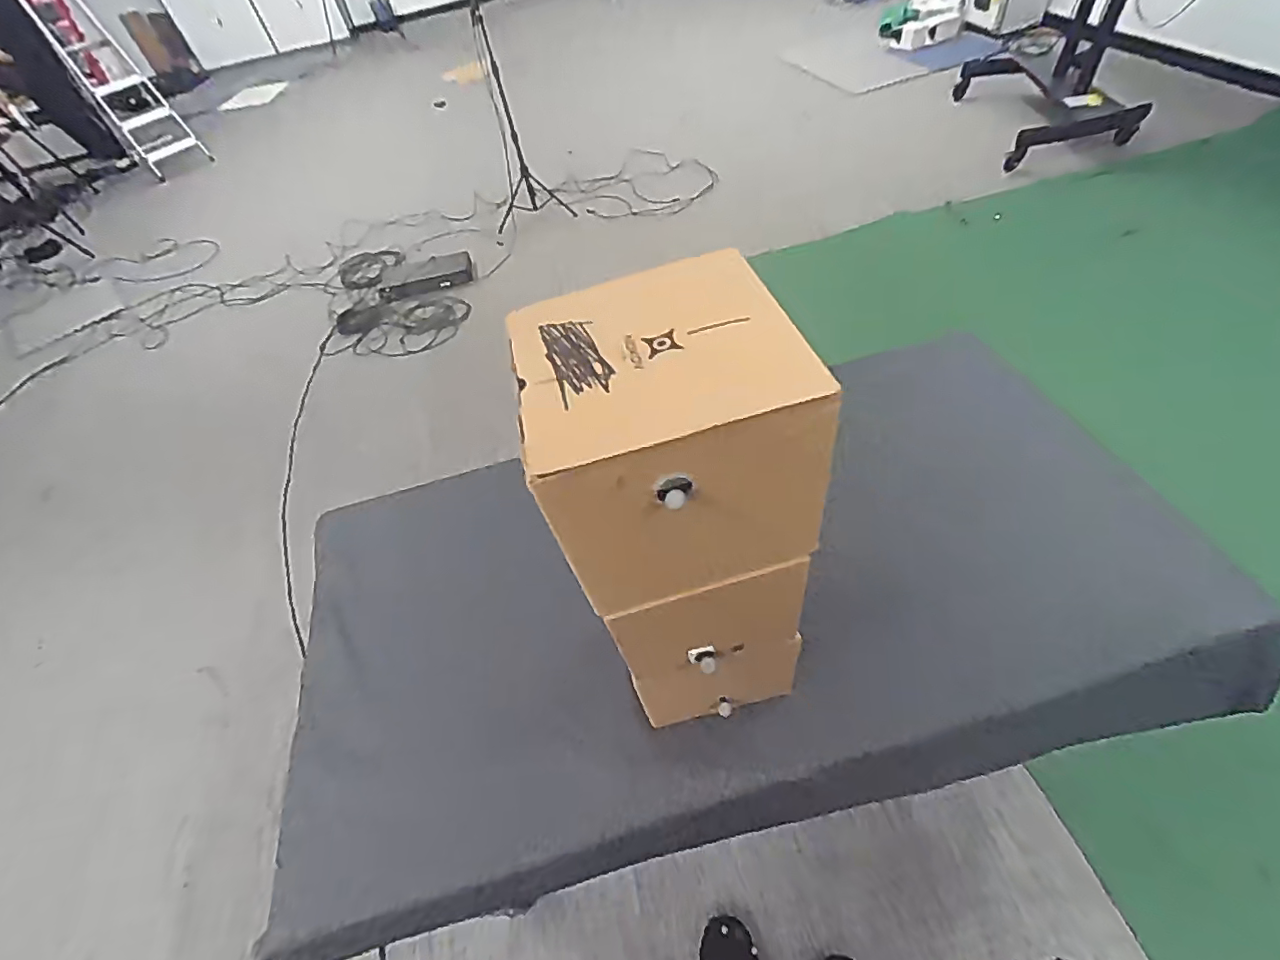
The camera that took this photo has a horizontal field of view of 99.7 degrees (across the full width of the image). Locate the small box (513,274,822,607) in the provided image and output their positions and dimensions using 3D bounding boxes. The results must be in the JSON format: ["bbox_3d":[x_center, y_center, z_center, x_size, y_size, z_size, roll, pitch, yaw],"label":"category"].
[{"bbox_3d":[0.019,-0.022,0.416,0.179,0.176,0.168,-16,51,-1],"label":"small box"}]

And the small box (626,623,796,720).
[{"bbox_3d":[0.069,0.169,0.656,0.179,0.176,0.168,-14,50,-2],"label":"small box"}]

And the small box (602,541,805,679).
[{"bbox_3d":[0.043,0.067,0.531,0.168,0.176,0.179,-17,52,-1],"label":"small box"}]
